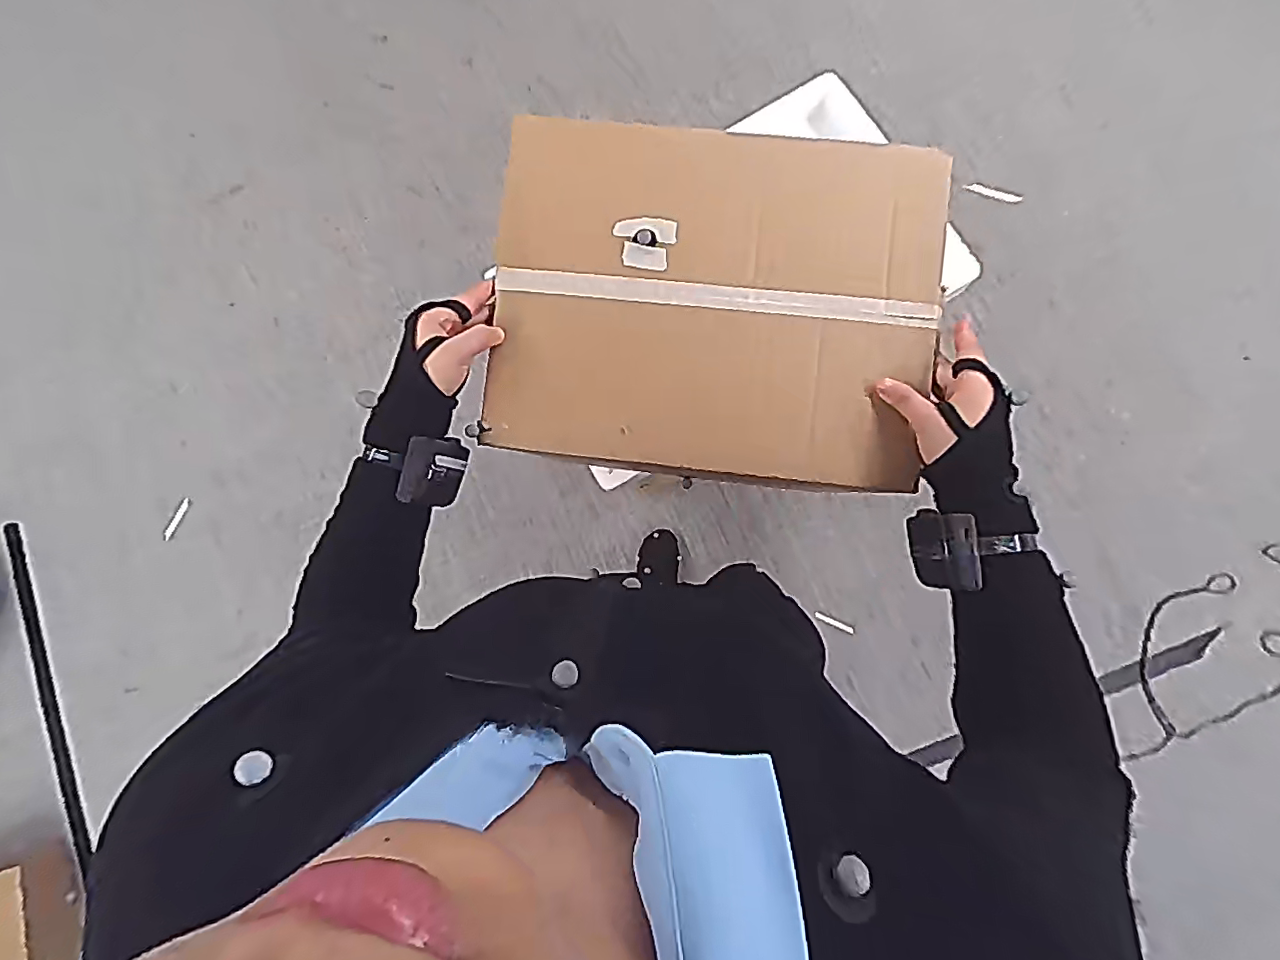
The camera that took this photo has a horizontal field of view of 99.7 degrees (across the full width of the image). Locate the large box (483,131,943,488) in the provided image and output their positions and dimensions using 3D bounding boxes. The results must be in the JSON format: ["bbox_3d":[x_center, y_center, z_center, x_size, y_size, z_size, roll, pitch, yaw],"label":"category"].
[{"bbox_3d":[0.074,-0.159,0.641,0.408,0.320,0.320,6,88,4],"label":"large box"}]
